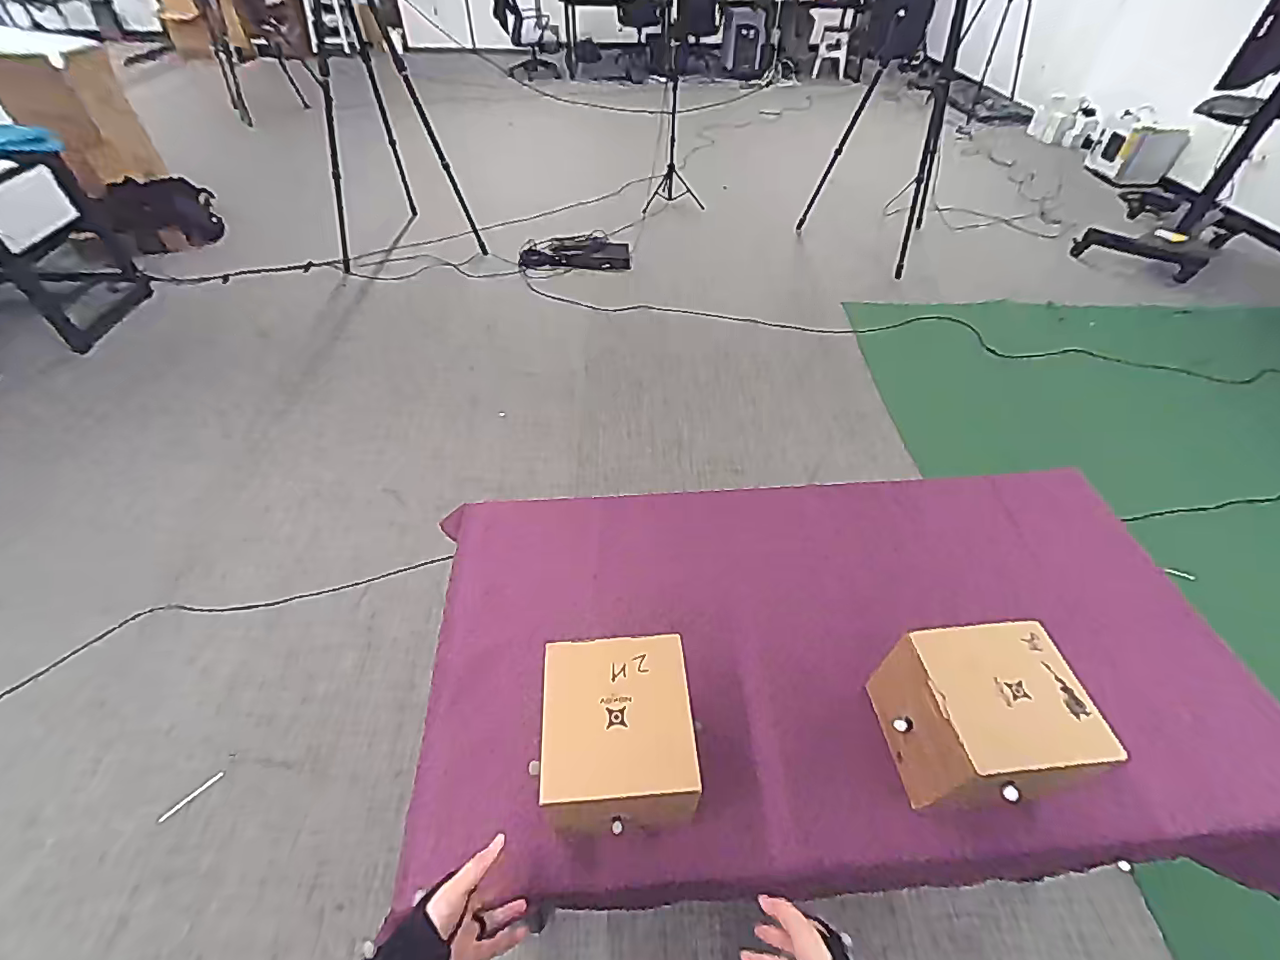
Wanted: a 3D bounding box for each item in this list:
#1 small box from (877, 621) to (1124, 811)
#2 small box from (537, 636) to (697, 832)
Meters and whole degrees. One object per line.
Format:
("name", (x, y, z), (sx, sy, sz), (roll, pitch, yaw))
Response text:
("small box", (0.420, 0.297, 0.676), (0.179, 0.176, 0.168), (-4, 47, -3))
("small box", (-0.027, 0.312, 0.657), (0.168, 0.176, 0.179), (-2, 46, -4))
